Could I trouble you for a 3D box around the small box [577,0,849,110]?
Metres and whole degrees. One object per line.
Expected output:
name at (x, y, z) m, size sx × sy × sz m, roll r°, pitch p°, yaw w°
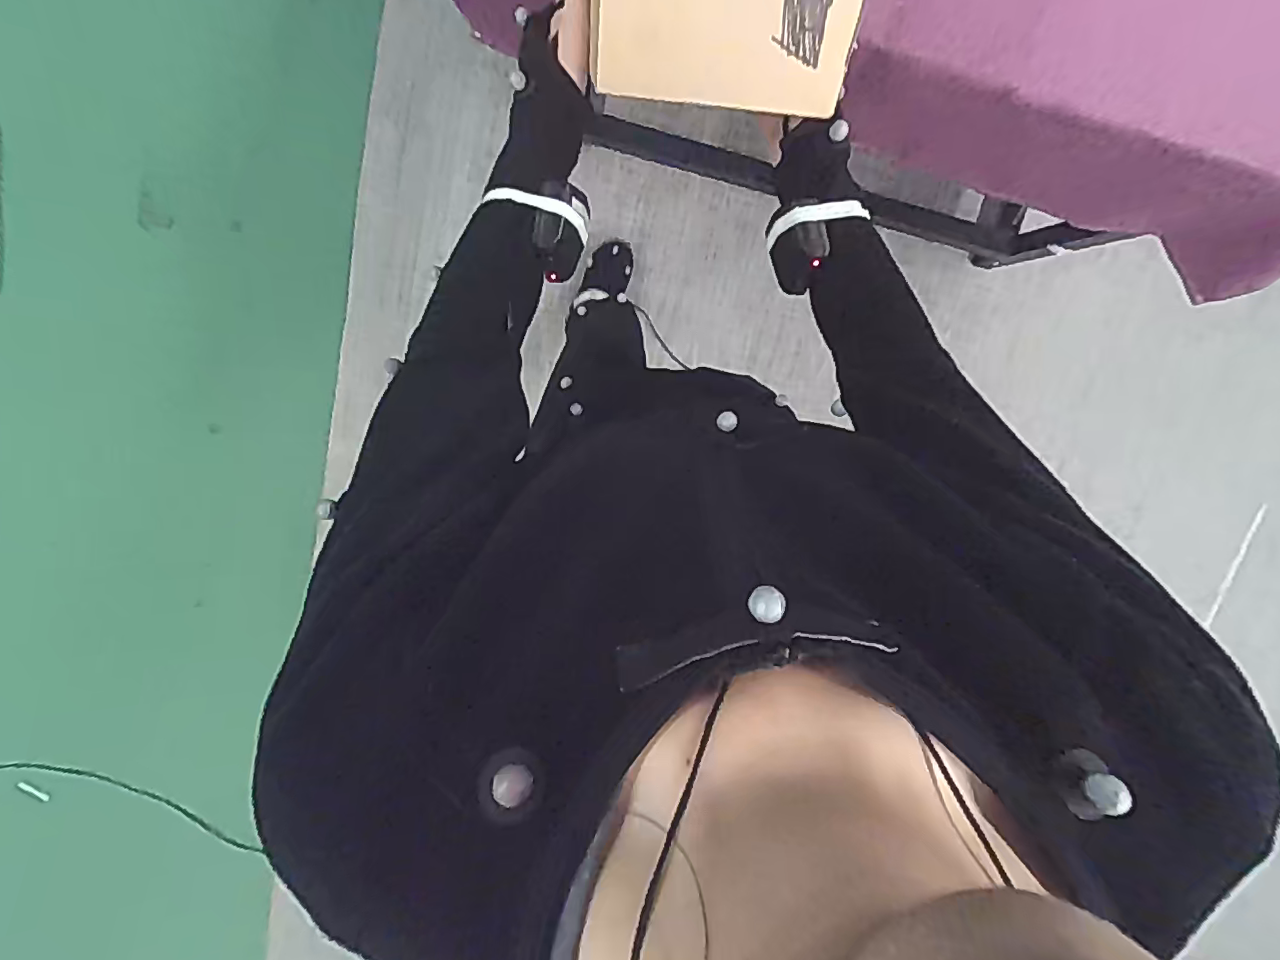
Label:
small box at (0.047, -0.388, 0.387) m, size 0.179 × 0.176 × 0.168 m, roll 0°, pitch 134°, yaw -8°
